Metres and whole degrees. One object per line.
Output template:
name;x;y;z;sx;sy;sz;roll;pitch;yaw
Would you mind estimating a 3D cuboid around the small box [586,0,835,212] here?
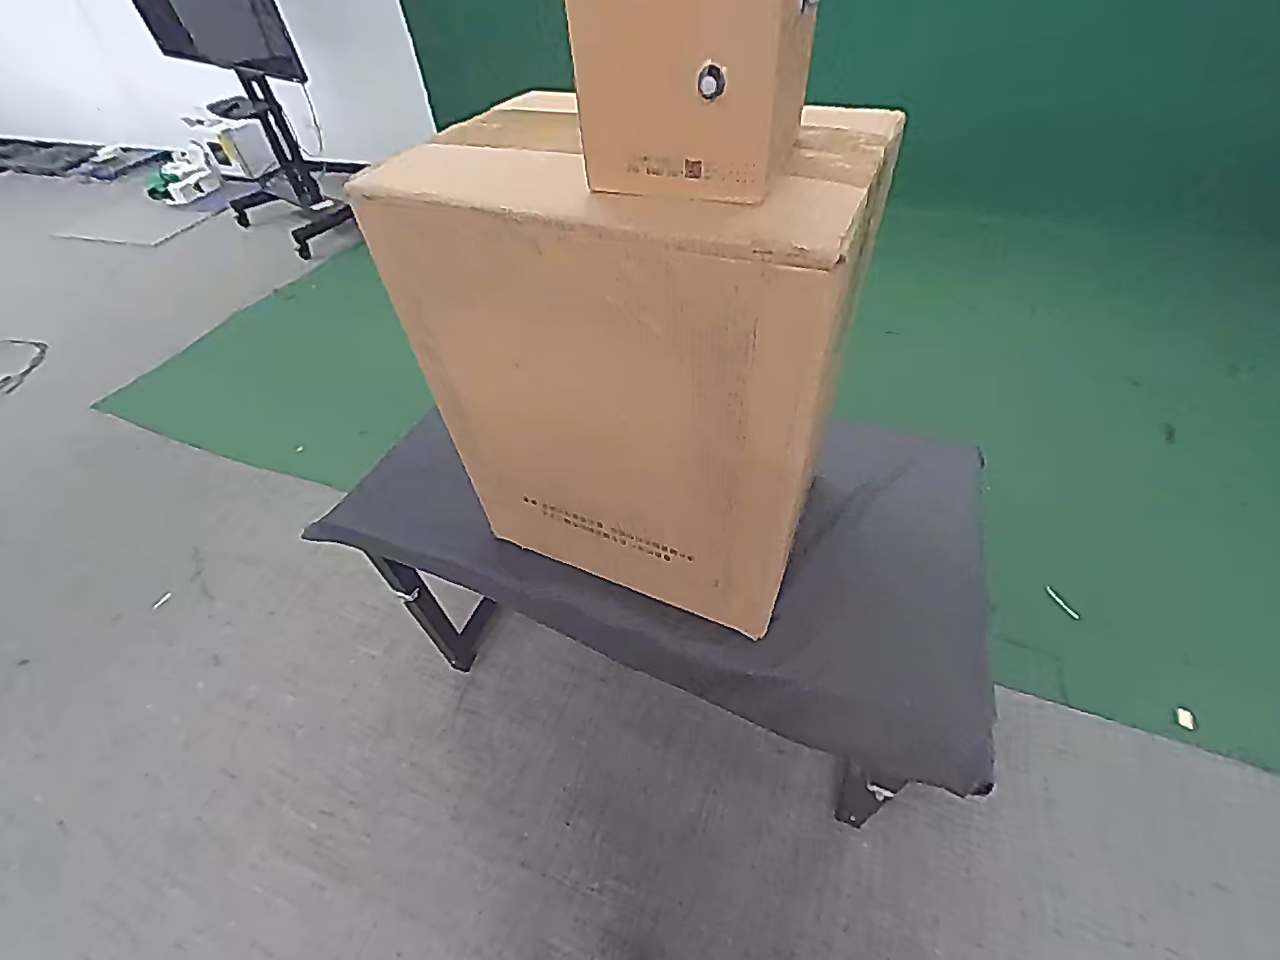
small box;0.068;-0.356;0.469;0.168;0.176;0.179;16;52;13
